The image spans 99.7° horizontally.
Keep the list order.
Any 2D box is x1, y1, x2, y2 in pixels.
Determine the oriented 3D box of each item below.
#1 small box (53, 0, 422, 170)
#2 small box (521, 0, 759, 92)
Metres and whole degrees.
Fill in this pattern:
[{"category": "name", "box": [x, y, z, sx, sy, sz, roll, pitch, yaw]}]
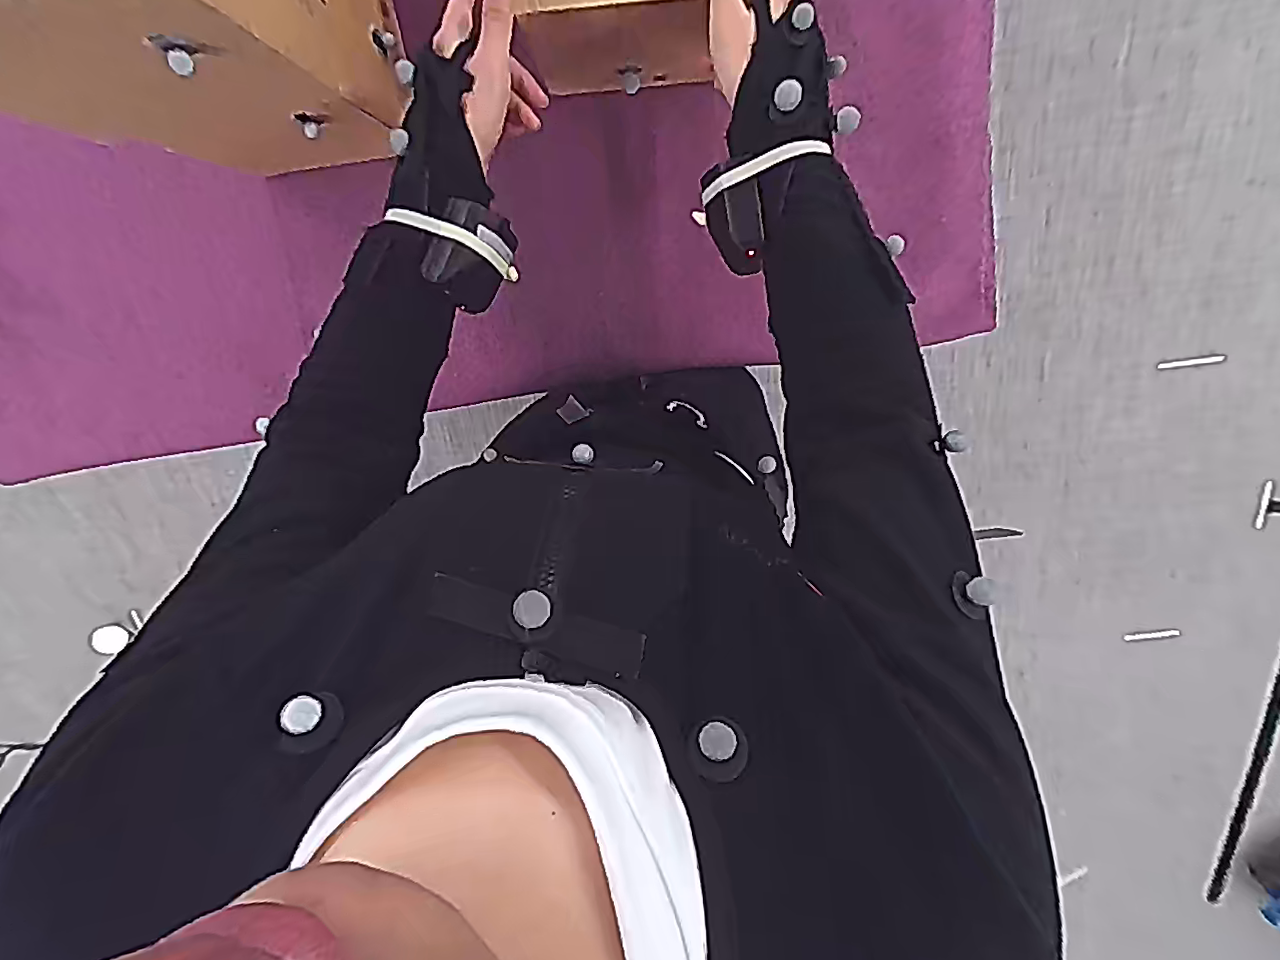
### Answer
[{"category": "small box", "box": [-0.302, -0.360, 0.423, 0.179, 0.176, 0.168, -8, 109, 2]}, {"category": "small box", "box": [-0.006, -0.422, 0.400, 0.168, 0.176, 0.179, -4, 110, 1]}]
